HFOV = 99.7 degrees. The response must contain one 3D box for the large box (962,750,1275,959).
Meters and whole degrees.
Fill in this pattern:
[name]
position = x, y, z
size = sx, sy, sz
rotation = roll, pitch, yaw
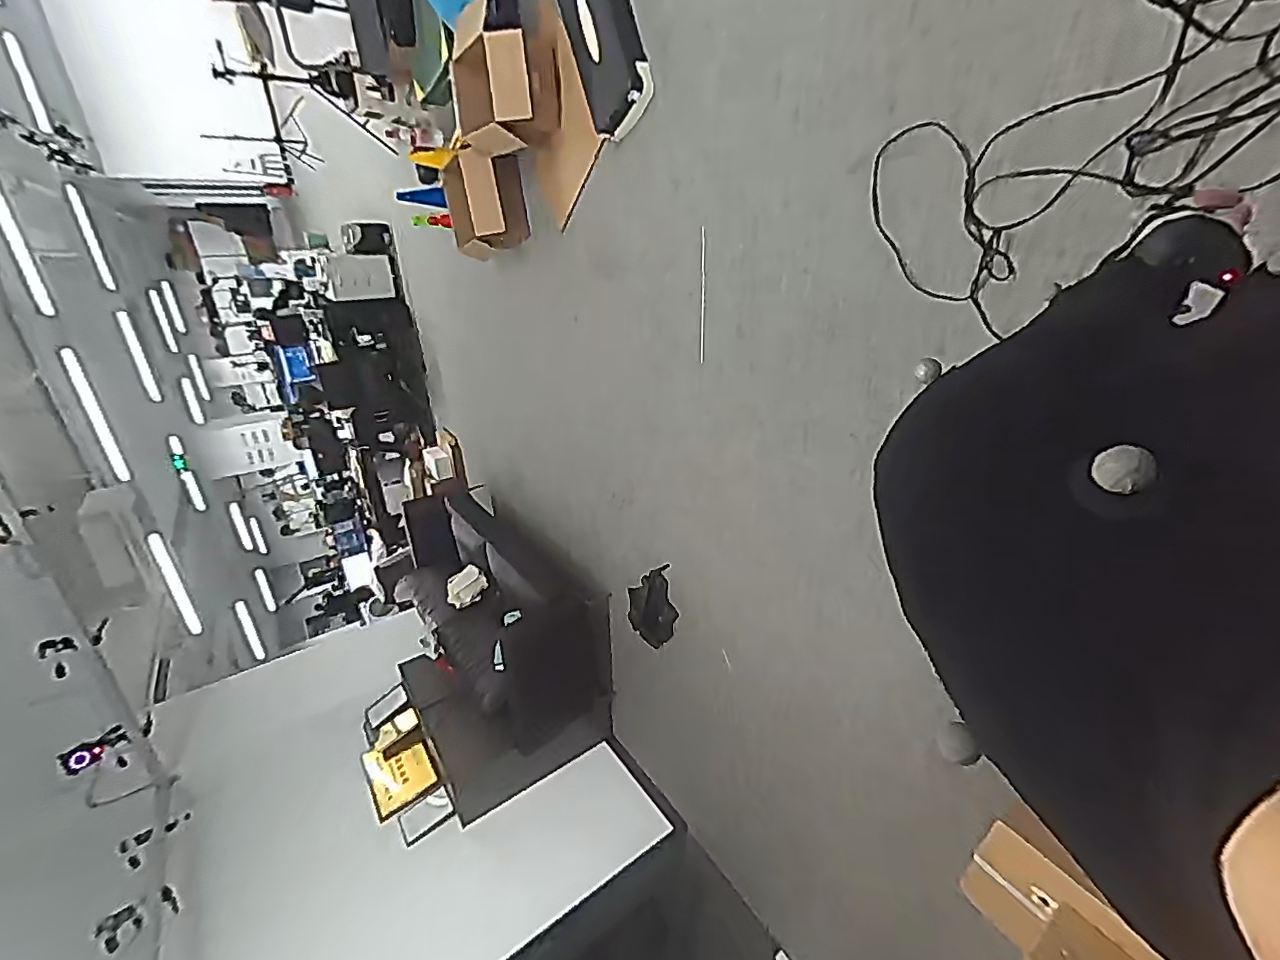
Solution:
[large box]
position = 1.050, 0.927, 1.226
size = 0.408, 0.320, 0.320
rotation = 36, 133, 46
